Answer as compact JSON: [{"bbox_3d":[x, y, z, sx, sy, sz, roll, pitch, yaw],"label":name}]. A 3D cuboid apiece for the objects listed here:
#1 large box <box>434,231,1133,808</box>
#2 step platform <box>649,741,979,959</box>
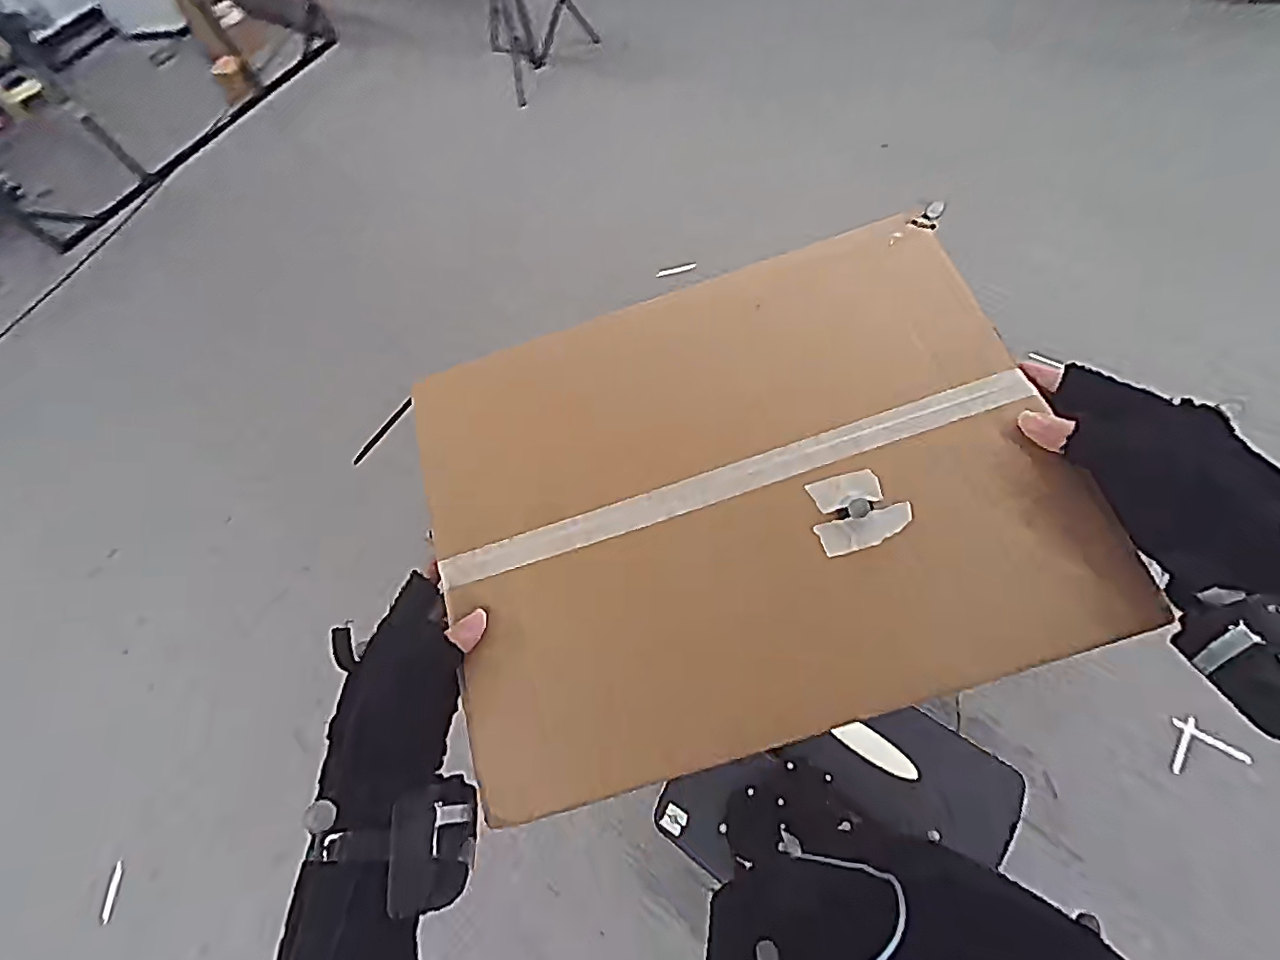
[{"bbox_3d":[0.083,0.051,0.514,0.408,0.320,0.320,-18,71,2],"label":"large box"},{"bbox_3d":[0.356,0.830,1.214,0.684,0.204,0.286,28,73,23],"label":"step platform"}]
